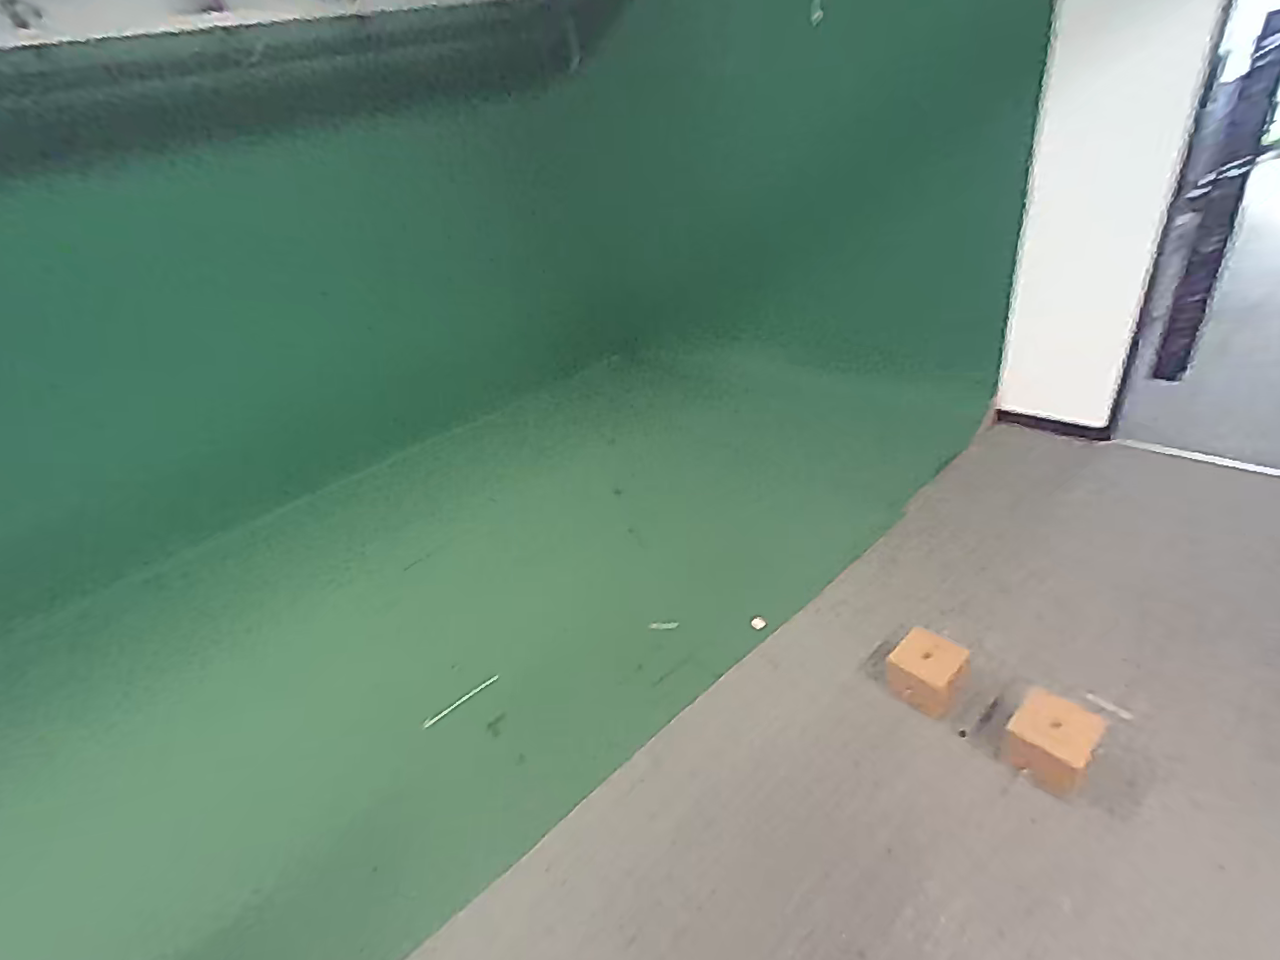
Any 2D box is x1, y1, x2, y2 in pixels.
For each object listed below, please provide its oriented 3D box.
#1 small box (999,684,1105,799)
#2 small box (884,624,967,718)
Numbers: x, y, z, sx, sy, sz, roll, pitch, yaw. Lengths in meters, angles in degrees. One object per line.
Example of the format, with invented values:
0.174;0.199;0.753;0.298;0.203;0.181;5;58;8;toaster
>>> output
1.083;0.691;1.434;0.179;0.176;0.168;-33;36;-26;small box
0.878;0.590;1.669;0.179;0.176;0.168;-32;37;-26;small box
